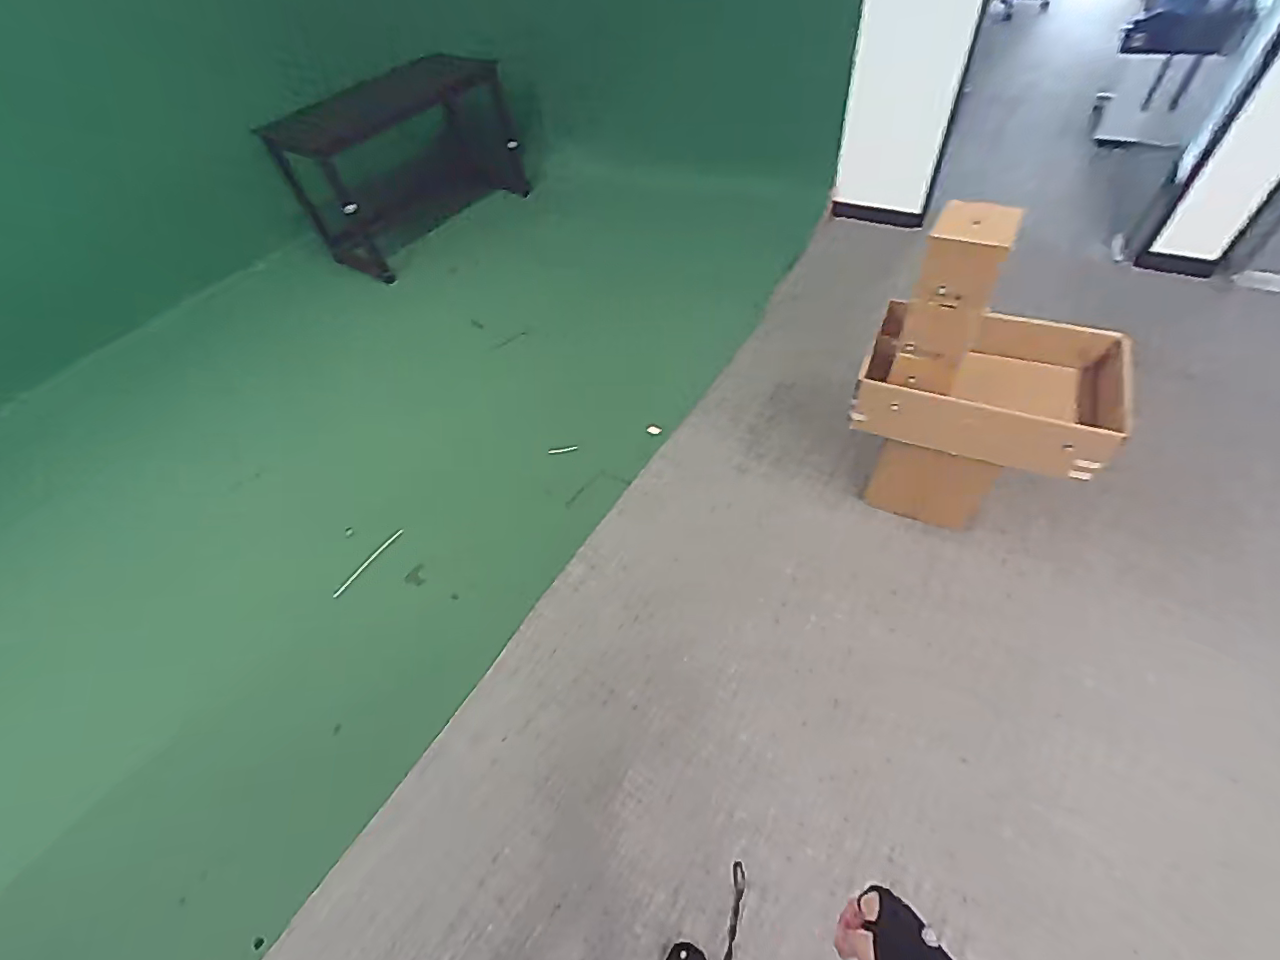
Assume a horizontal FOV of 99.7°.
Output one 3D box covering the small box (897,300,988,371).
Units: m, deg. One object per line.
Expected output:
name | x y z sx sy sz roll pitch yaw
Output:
small box | 0.791 -0.413 1.411 0.168 0.176 0.179 22 57 23

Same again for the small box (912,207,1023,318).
small box | 0.771 -0.517 1.287 0.168 0.176 0.179 23 58 24

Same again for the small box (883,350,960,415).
small box | 0.807 -0.312 1.539 0.168 0.176 0.179 18 56 21
